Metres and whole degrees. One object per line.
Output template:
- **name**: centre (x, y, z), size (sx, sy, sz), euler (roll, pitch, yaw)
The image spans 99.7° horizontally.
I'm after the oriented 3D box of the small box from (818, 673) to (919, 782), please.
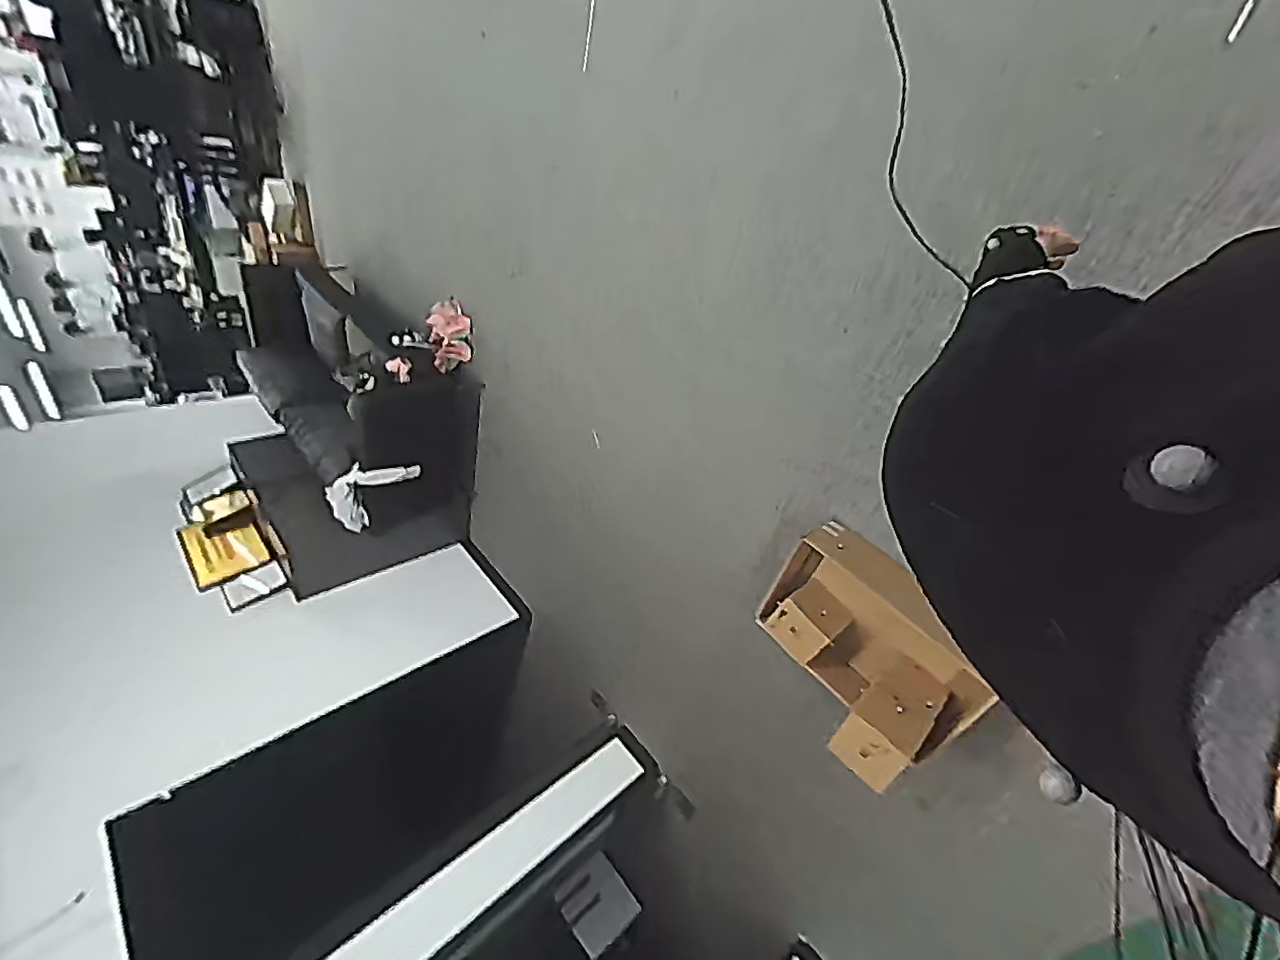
- **small box**: centre (0.627, 0.669, 1.478), size (0.168, 0.176, 0.179), euler (38, 129, 30)
